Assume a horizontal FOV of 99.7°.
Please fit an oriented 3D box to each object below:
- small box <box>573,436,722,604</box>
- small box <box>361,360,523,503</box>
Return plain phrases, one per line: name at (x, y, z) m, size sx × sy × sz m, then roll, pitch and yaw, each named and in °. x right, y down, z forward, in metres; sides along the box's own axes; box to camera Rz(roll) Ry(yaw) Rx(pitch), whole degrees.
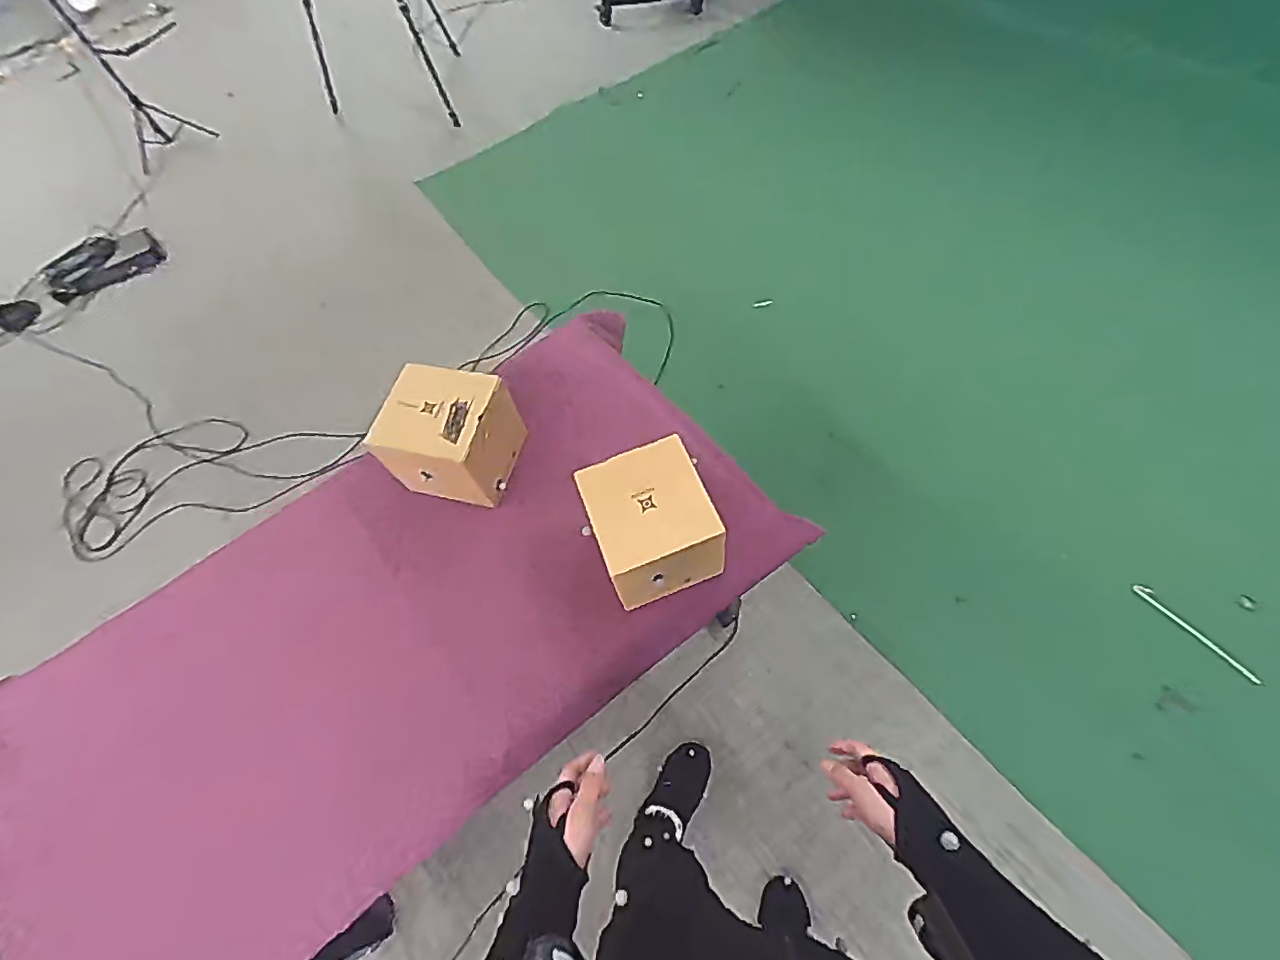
small box at (0.016, 0.071, 0.809) m, size 0.168 × 0.176 × 0.179 m, roll -21°, pitch 60°, yaw -4°
small box at (-0.321, -0.075, 0.921) m, size 0.179 × 0.176 × 0.168 m, roll 11°, pitch 64°, yaw 11°
